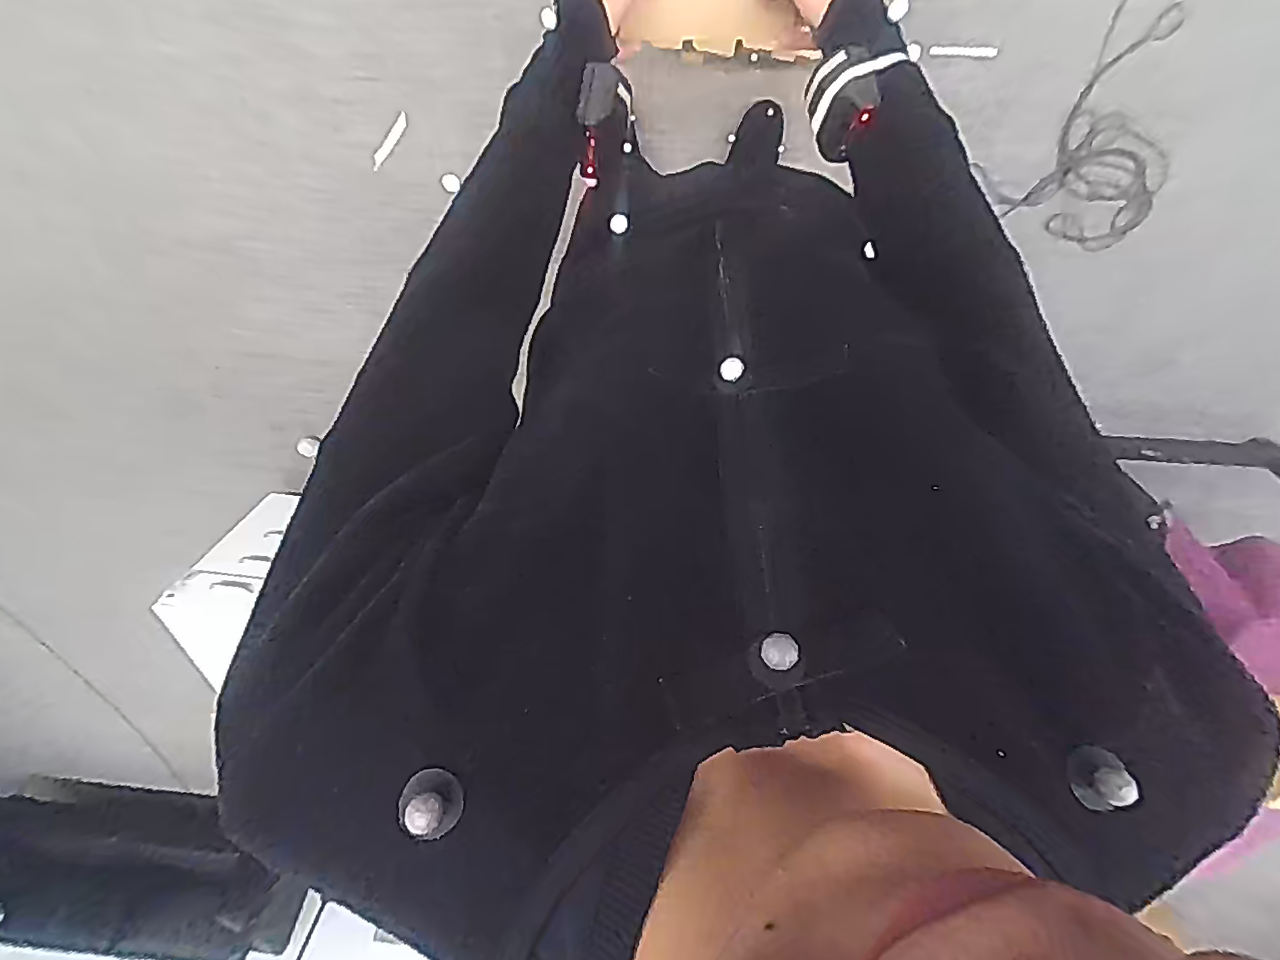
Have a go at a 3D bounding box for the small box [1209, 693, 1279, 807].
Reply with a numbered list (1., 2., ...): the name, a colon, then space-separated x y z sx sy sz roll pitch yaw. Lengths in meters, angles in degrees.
1. small box: 1.400 0.573 1.143 0.179 0.176 0.168 4 127 4

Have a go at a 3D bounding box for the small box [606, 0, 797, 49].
1. small box: 0.056 -0.540 0.534 0.179 0.176 0.168 -4 133 -3
